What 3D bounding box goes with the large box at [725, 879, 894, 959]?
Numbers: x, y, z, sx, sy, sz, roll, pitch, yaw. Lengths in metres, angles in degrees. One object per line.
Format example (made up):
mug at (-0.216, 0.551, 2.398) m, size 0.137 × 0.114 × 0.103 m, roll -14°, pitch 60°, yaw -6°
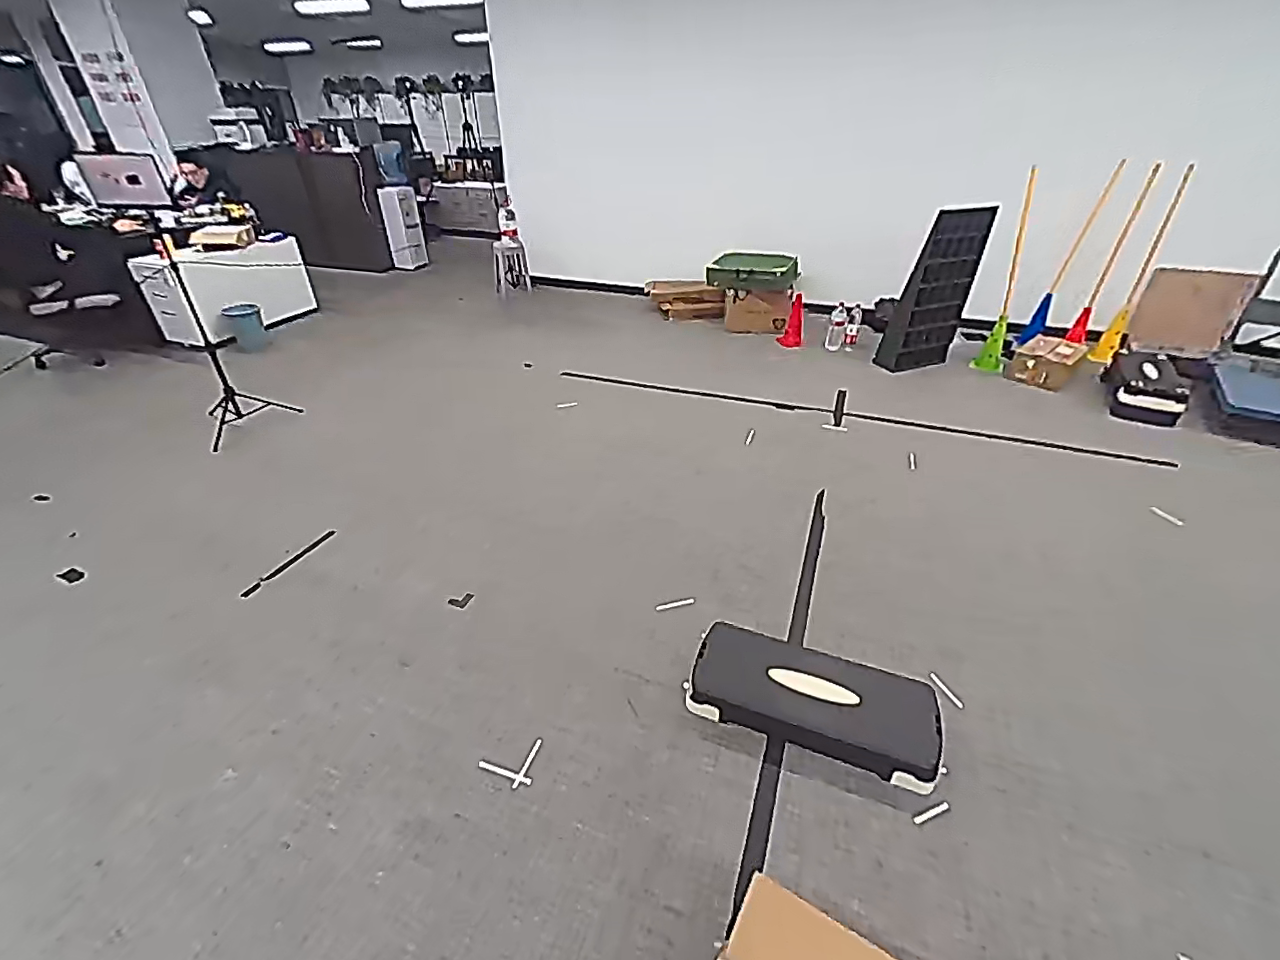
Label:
large box at (0.300, 0.957, 0.854) m, size 0.408 × 0.320 × 0.320 m, roll 19°, pitch 38°, yaw 25°
